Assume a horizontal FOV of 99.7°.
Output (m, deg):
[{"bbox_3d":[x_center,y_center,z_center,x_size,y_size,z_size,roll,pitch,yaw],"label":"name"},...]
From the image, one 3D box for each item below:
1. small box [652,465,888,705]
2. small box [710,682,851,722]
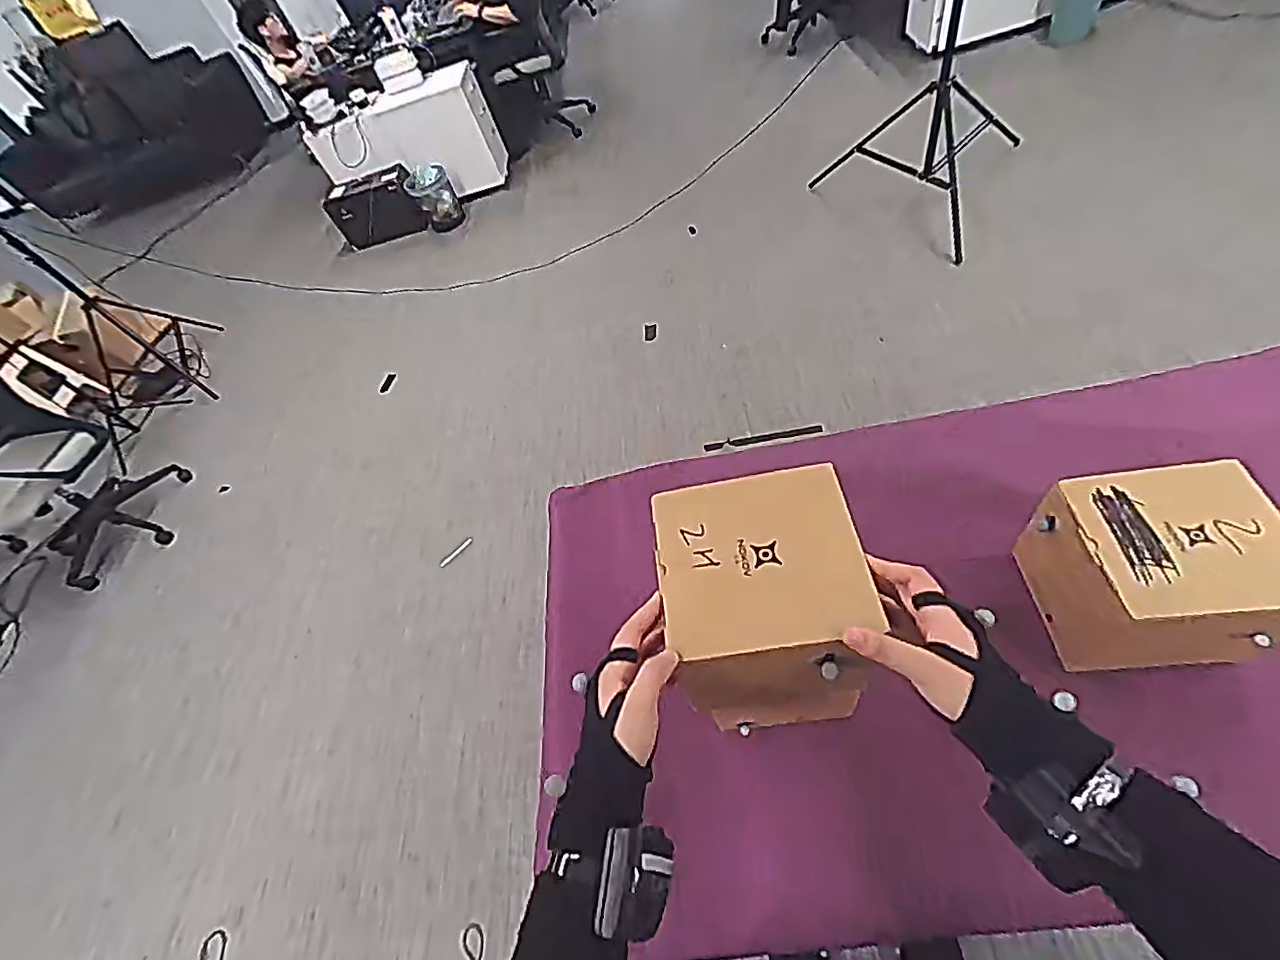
[{"bbox_3d":[0.117,0.110,0.531,0.179,0.176,0.168,-11,53,8],"label":"small box"},{"bbox_3d":[0.157,0.190,0.669,0.168,0.176,0.179,-10,52,8],"label":"small box"}]
